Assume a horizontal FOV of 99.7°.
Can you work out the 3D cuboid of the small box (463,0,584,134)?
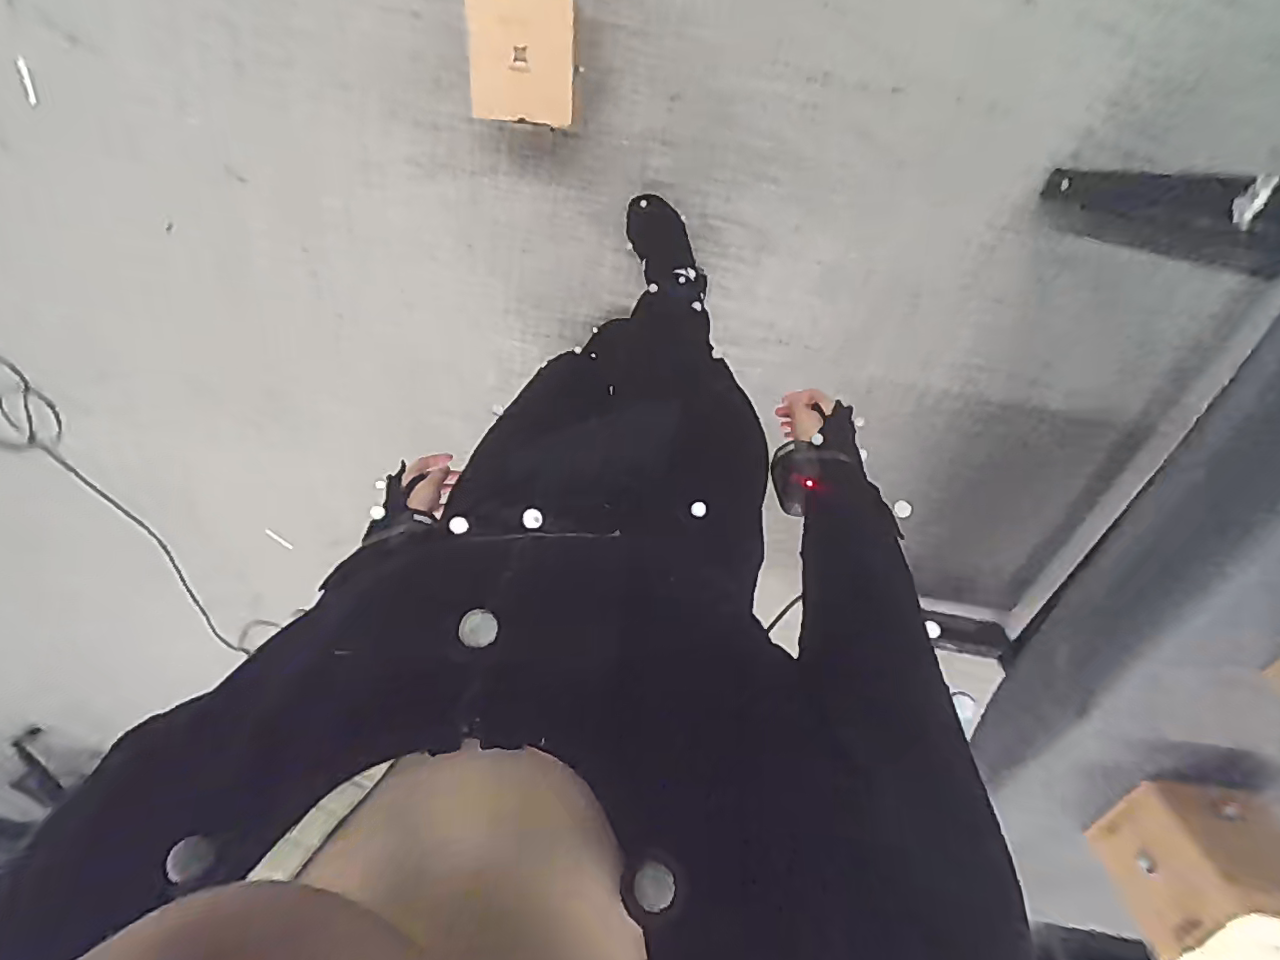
[{"bbox_3d":[-0.187,-0.696,0.915,0.168,0.176,0.179,4,120,-1],"label":"small box"}]

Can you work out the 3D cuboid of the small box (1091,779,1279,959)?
[{"bbox_3d":[0.799,0.549,0.754,0.179,0.176,0.168,9,121,-2],"label":"small box"}]
